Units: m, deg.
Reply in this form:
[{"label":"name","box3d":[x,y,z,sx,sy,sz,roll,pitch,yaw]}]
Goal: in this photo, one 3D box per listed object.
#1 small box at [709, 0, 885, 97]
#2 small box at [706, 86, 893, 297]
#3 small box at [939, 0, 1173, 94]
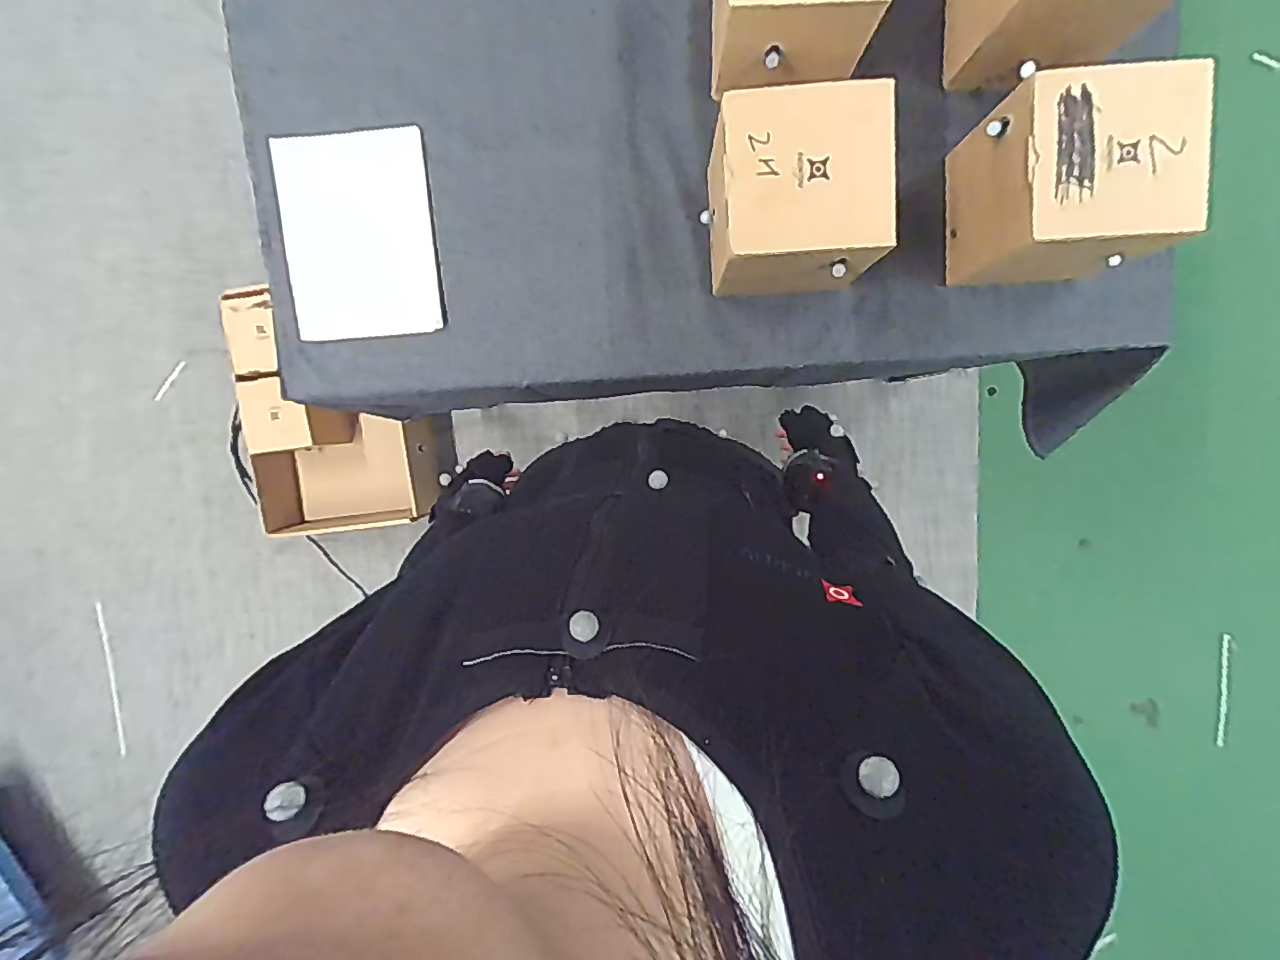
[{"label":"small box","box3d":[0.170,-0.567,0.617,0.168,0.176,0.179,0,95,2]},{"label":"small box","box3d":[0.175,-0.322,0.636,0.179,0.176,0.168,-3,94,3]},{"label":"small box","box3d":[0.459,-0.574,0.603,0.168,0.176,0.179,0,96,3]}]
